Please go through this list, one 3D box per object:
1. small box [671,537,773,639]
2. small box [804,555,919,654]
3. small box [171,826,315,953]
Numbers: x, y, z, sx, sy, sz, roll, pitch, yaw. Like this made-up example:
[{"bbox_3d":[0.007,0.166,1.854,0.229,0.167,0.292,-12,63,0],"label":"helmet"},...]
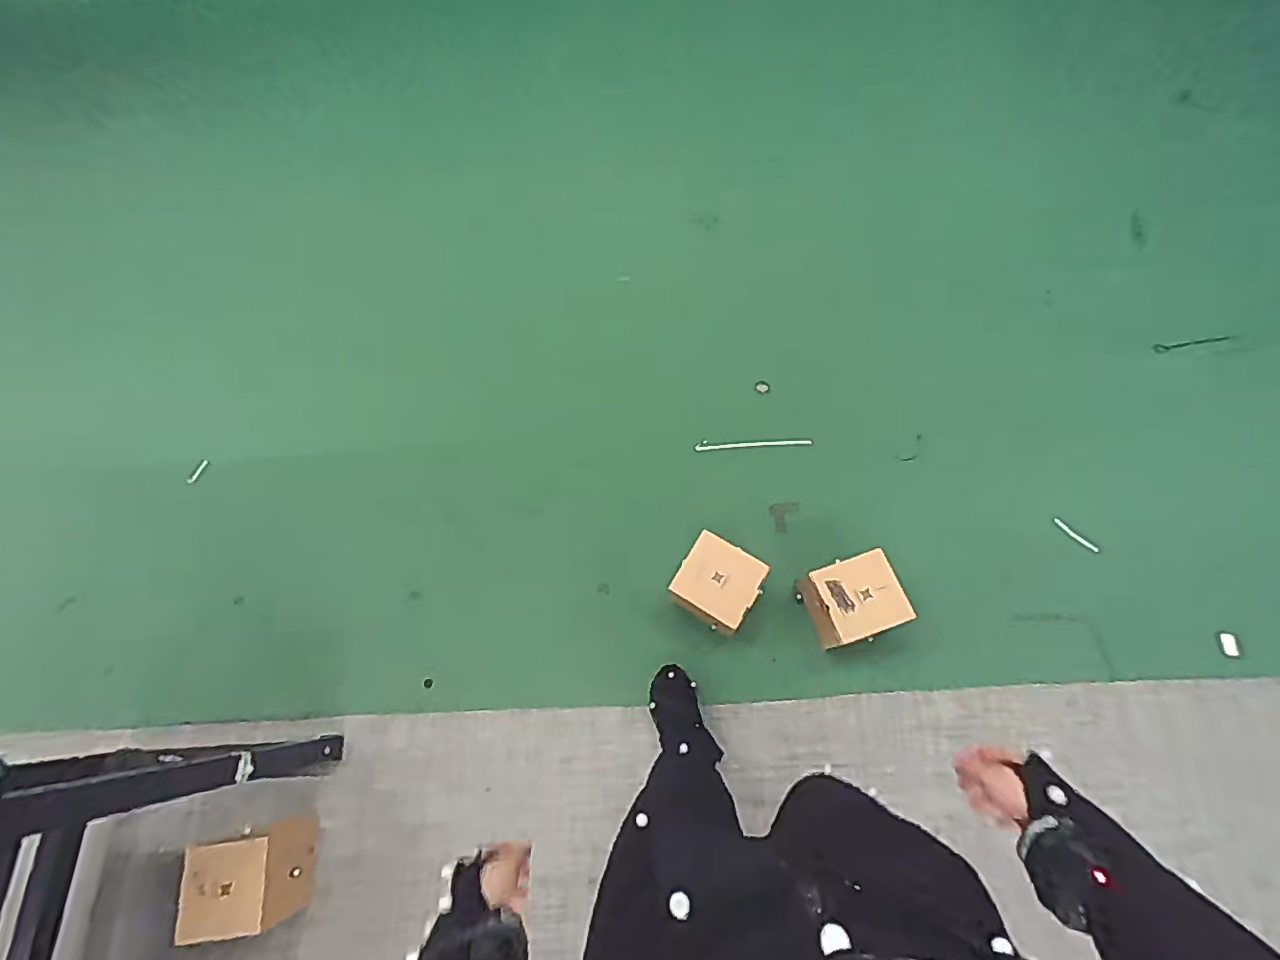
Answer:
[{"bbox_3d":[0.190,0.263,1.281,0.179,0.176,0.168,29,74,15],"label":"small box"},{"bbox_3d":[0.494,0.293,1.246,0.179,0.176,0.168,-18,70,-3],"label":"small box"},{"bbox_3d":[-0.821,0.850,1.140,0.179,0.176,0.168,-8,69,1],"label":"small box"}]
